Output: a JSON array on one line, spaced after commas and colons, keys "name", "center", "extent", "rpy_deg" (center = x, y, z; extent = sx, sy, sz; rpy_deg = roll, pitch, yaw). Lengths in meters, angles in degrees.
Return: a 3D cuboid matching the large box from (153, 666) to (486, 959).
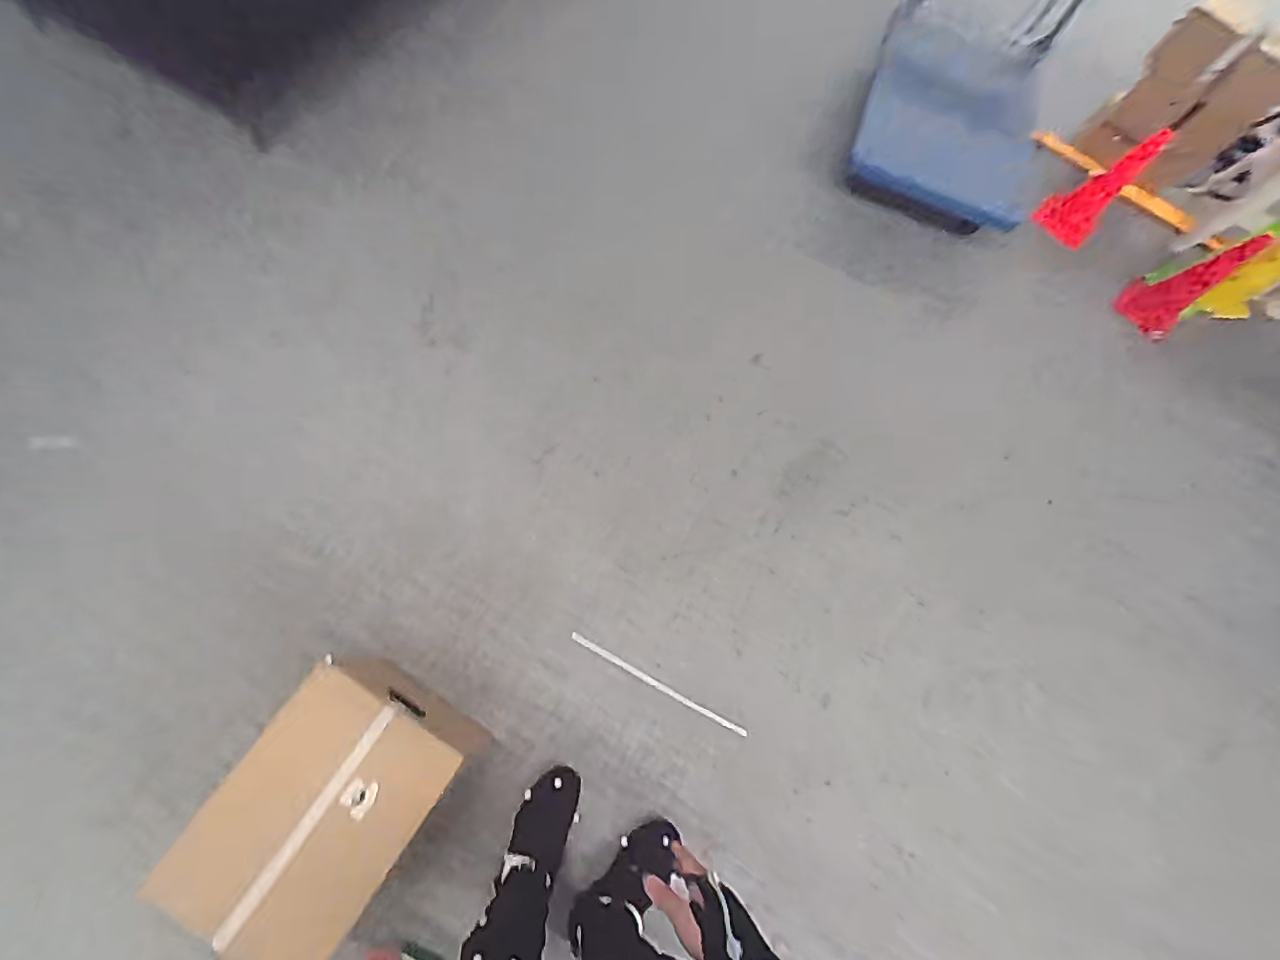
[{"name": "large box", "center": [-0.558, 0.621, 1.041], "extent": [0.320, 0.320, 0.408], "rpy_deg": [32, 70, 3]}]
